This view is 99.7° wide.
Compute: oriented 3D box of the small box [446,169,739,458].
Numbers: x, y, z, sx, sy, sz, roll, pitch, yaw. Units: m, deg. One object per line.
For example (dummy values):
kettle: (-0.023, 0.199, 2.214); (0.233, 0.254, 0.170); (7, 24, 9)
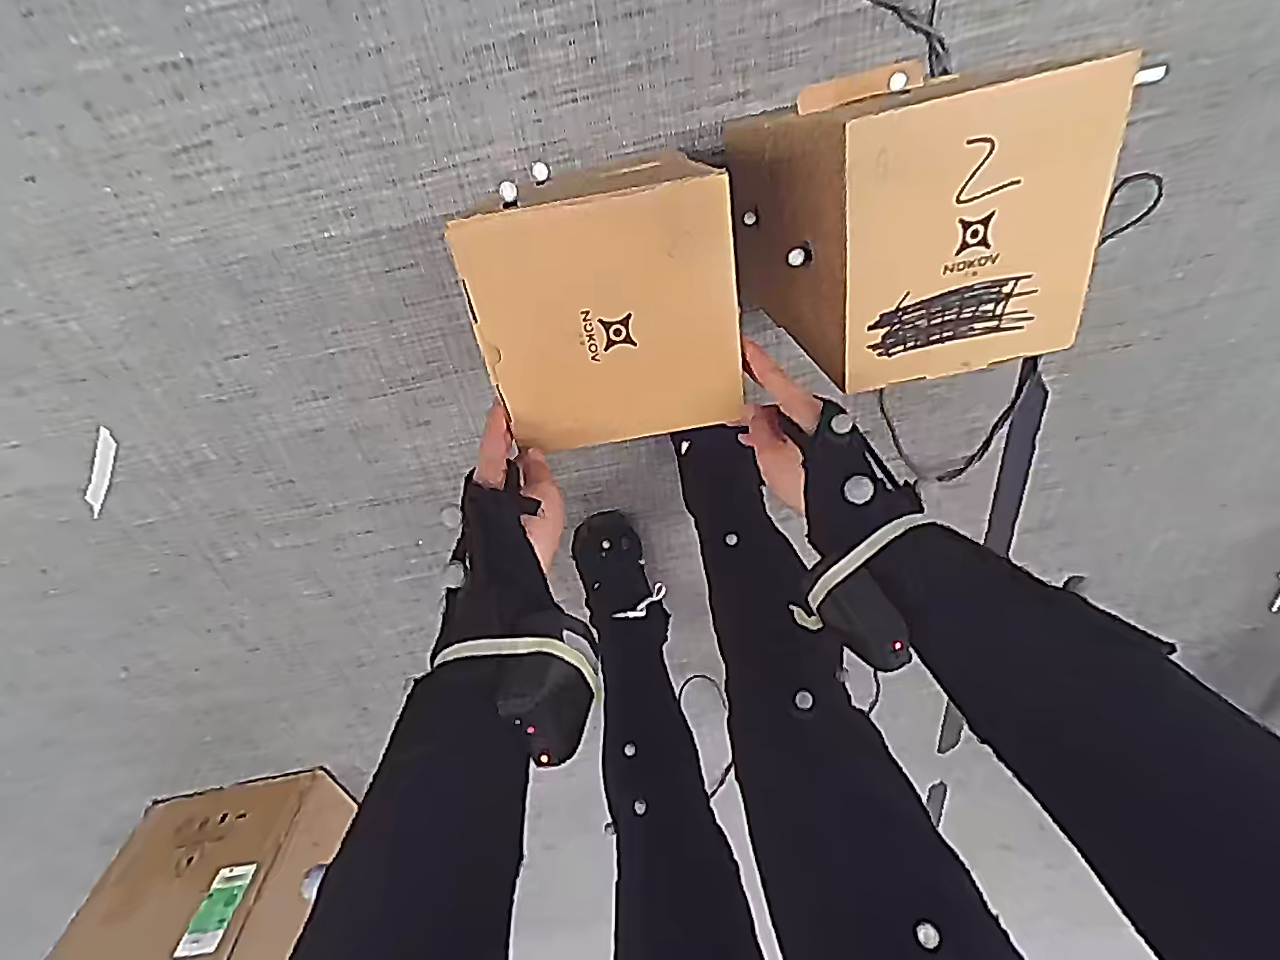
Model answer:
small box: (-0.027, -0.141, 0.435); (0.179, 0.176, 0.168); (-9, 122, 3)

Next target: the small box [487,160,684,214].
small box: (-0.037, -0.228, 0.570); (0.179, 0.176, 0.168); (-10, 123, 3)

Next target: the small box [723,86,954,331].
small box: (0.189, -0.277, 0.557); (0.168, 0.176, 0.179); (-12, 123, 3)
